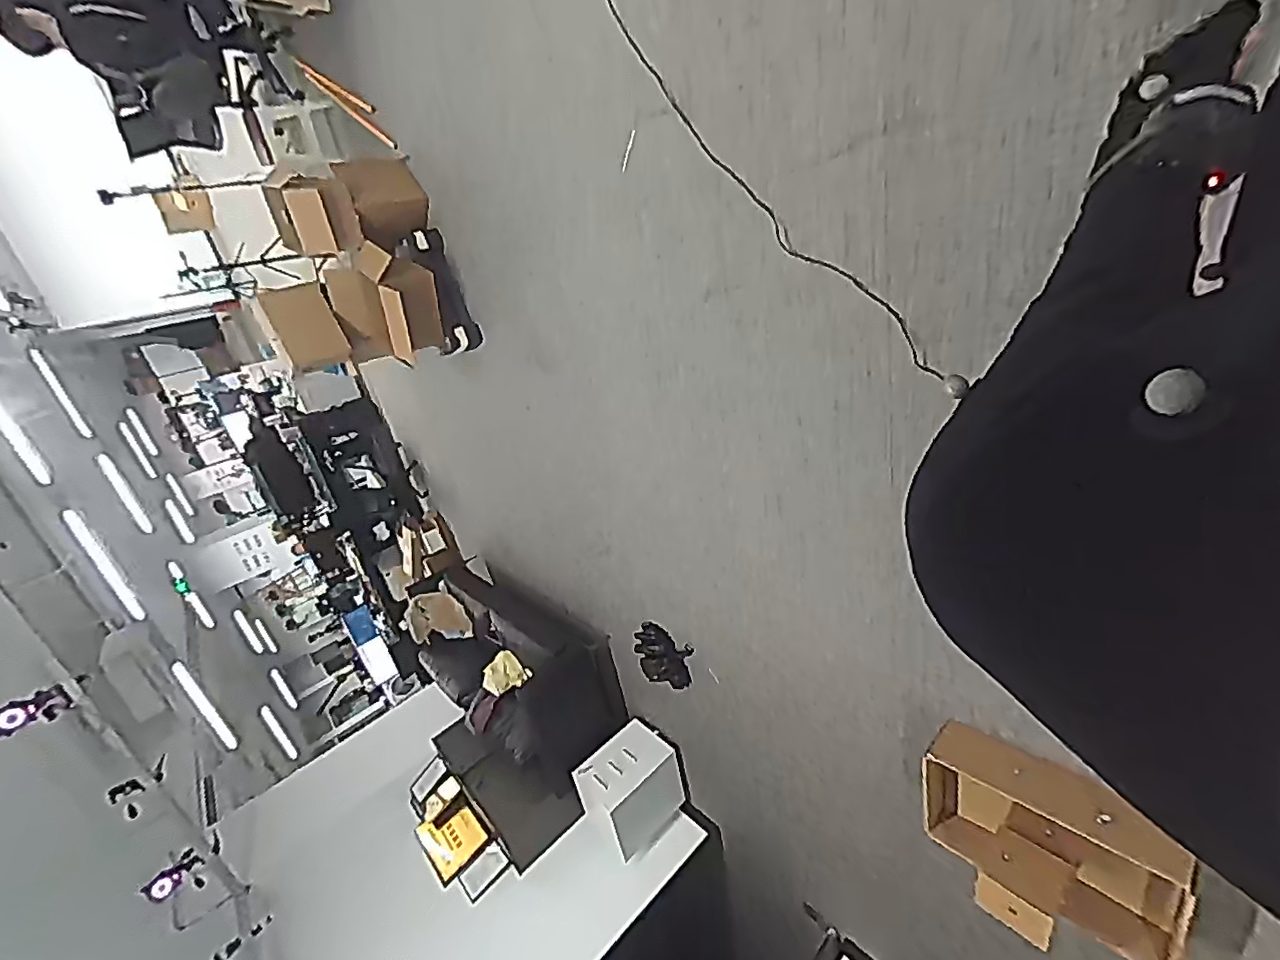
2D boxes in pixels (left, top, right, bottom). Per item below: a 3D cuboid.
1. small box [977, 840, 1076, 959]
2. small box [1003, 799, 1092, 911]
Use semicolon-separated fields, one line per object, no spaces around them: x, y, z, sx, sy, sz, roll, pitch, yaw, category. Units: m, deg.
1.045;1.127;1.466;0.179;0.176;0.168;13;124;49;small box
1.186;1.079;1.574;0.179;0.176;0.168;12;124;50;small box
